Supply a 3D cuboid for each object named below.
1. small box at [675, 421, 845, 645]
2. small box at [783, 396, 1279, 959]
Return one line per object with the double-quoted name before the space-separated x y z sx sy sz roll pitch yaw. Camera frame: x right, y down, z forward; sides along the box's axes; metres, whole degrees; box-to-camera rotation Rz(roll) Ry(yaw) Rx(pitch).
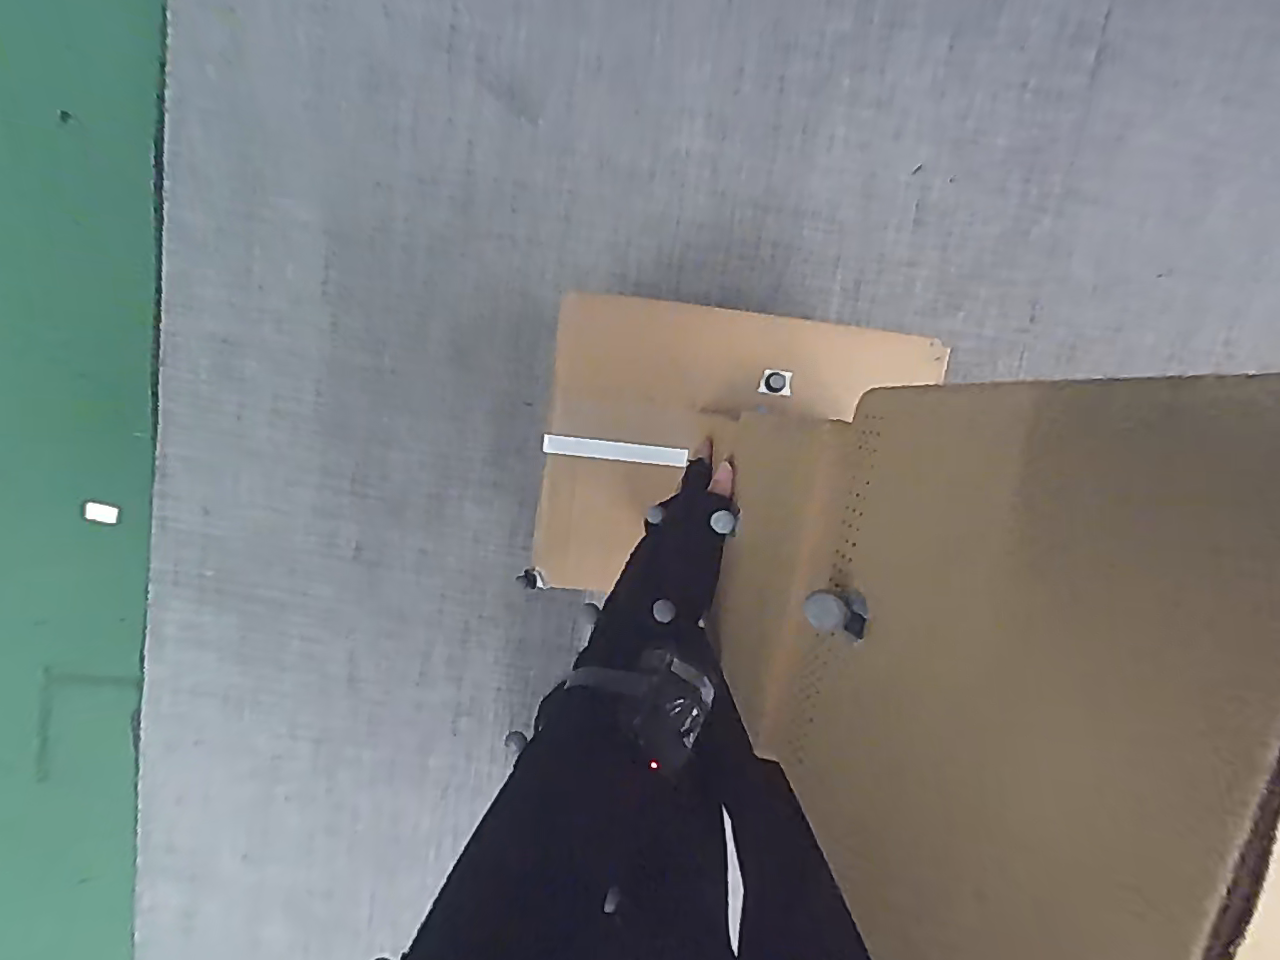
"small box" 0.134 0.039 0.497 0.179 0.176 0.168 7 99 -5
"small box" 0.157 0.074 0.171 0.168 0.176 0.179 10 99 -4
